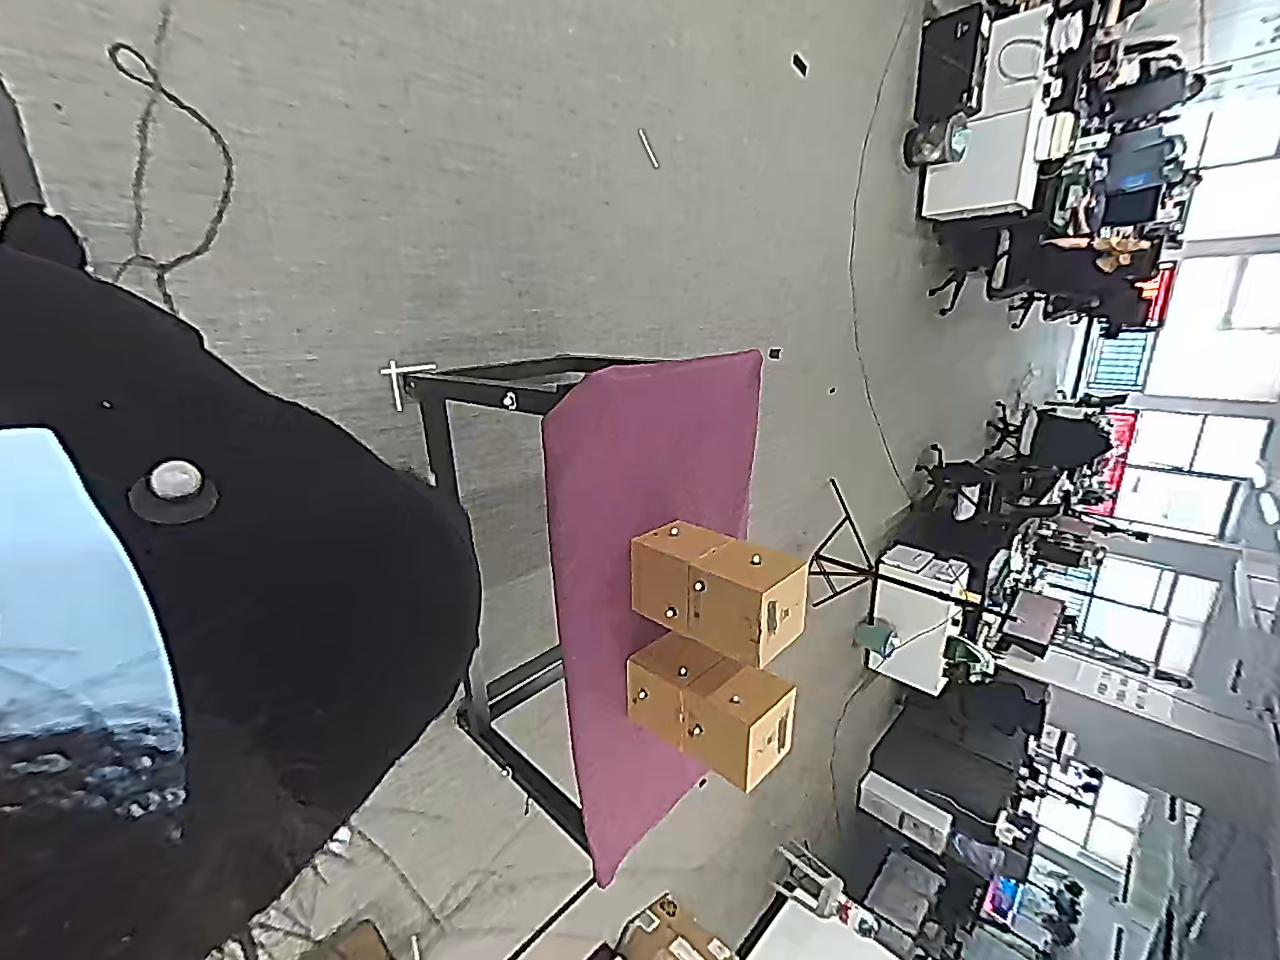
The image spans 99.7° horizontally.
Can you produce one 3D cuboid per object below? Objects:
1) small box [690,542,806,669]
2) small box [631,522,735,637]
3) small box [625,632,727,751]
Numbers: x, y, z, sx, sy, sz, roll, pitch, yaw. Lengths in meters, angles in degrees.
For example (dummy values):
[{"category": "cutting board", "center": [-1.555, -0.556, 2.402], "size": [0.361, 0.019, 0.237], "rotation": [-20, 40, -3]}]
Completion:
[{"category": "small box", "center": [0.215, 0.243, 1.094], "size": [0.179, 0.176, 0.168], "rotation": [-19, 115, -43]}, {"category": "small box", "center": [0.092, 0.212, 1.199], "size": [0.168, 0.176, 0.179], "rotation": [-17, 113, -44]}, {"category": "small box", "center": [0.085, 0.485, 1.272], "size": [0.179, 0.176, 0.168], "rotation": [-17, 113, -44]}]
